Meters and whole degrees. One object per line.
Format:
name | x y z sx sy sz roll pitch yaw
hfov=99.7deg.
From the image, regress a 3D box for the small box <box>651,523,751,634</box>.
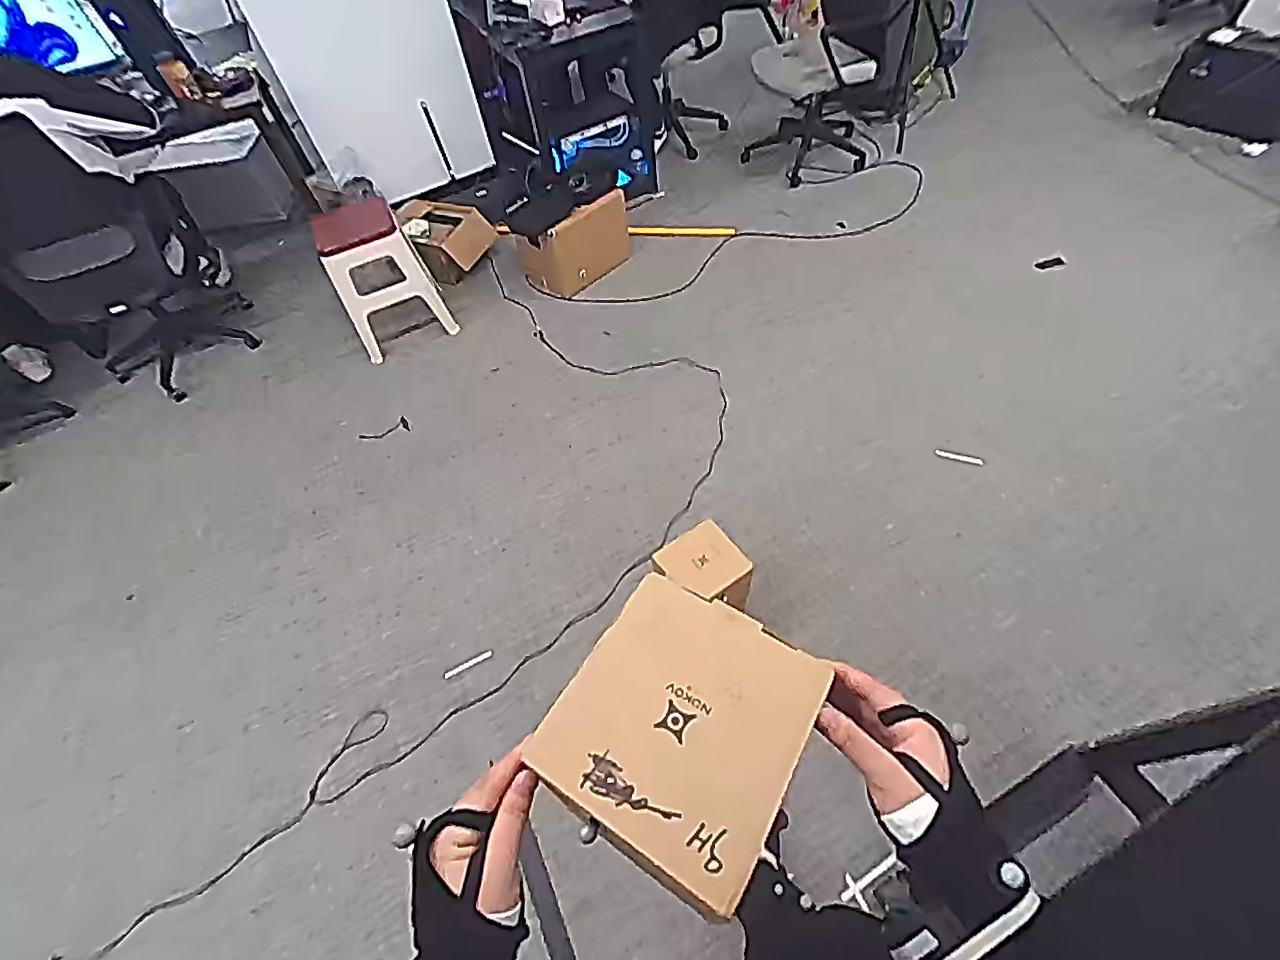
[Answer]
small box | 0.148 0.243 1.313 0.179 0.176 0.168 -31 58 -16
